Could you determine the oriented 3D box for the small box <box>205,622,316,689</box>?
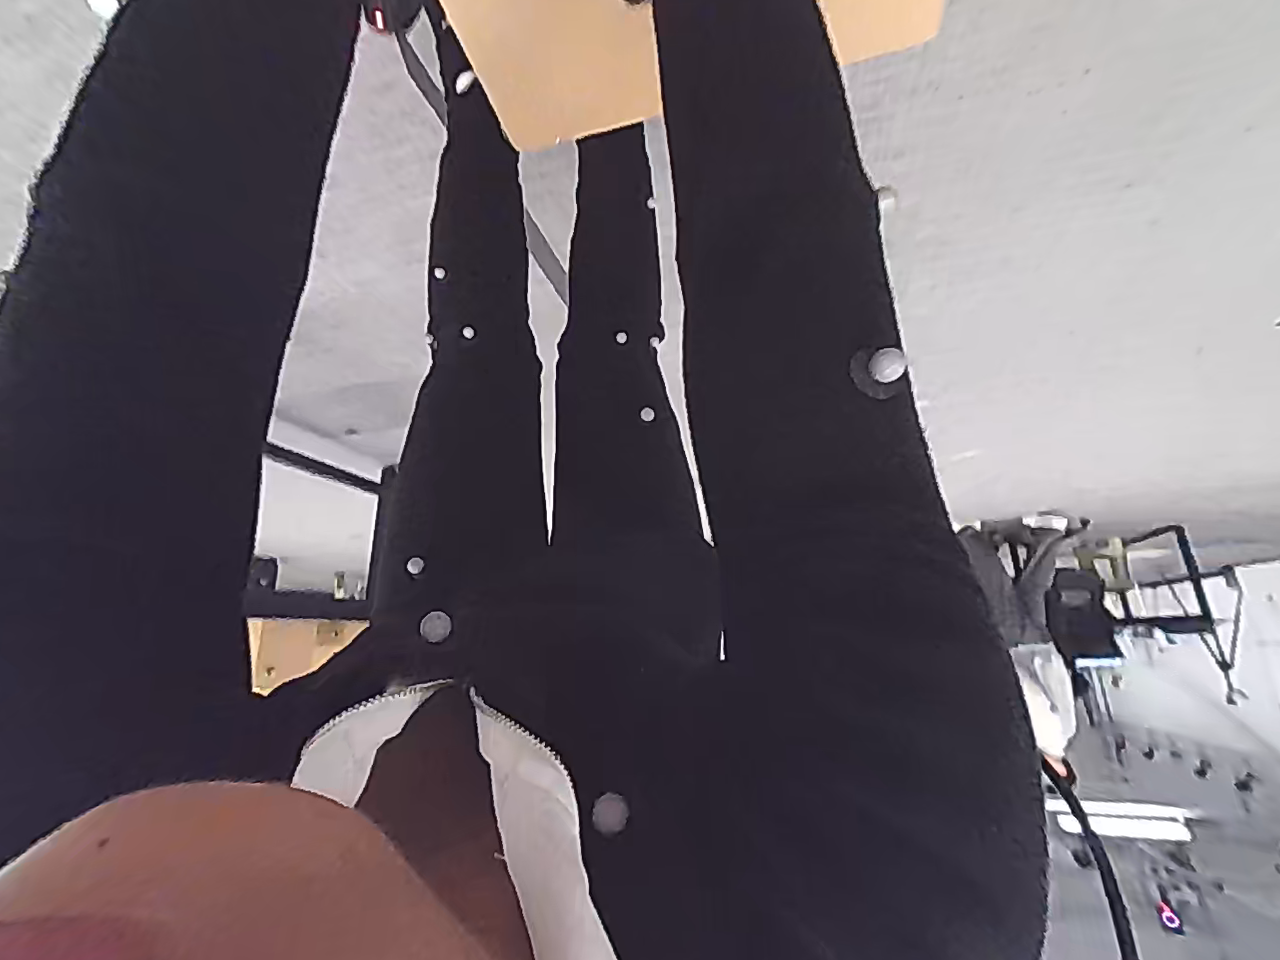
[{"bbox_3d":[-1.029,0.478,1.480,0.168,0.176,0.179,-5,162,16],"label":"small box"}]

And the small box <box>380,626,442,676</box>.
[{"bbox_3d":[-0.859,0.631,1.997,0.168,0.176,0.179,-6,163,18],"label":"small box"}]

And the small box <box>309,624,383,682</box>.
[{"bbox_3d":[-0.952,0.552,1.728,0.168,0.176,0.179,-5,163,15],"label":"small box"}]
